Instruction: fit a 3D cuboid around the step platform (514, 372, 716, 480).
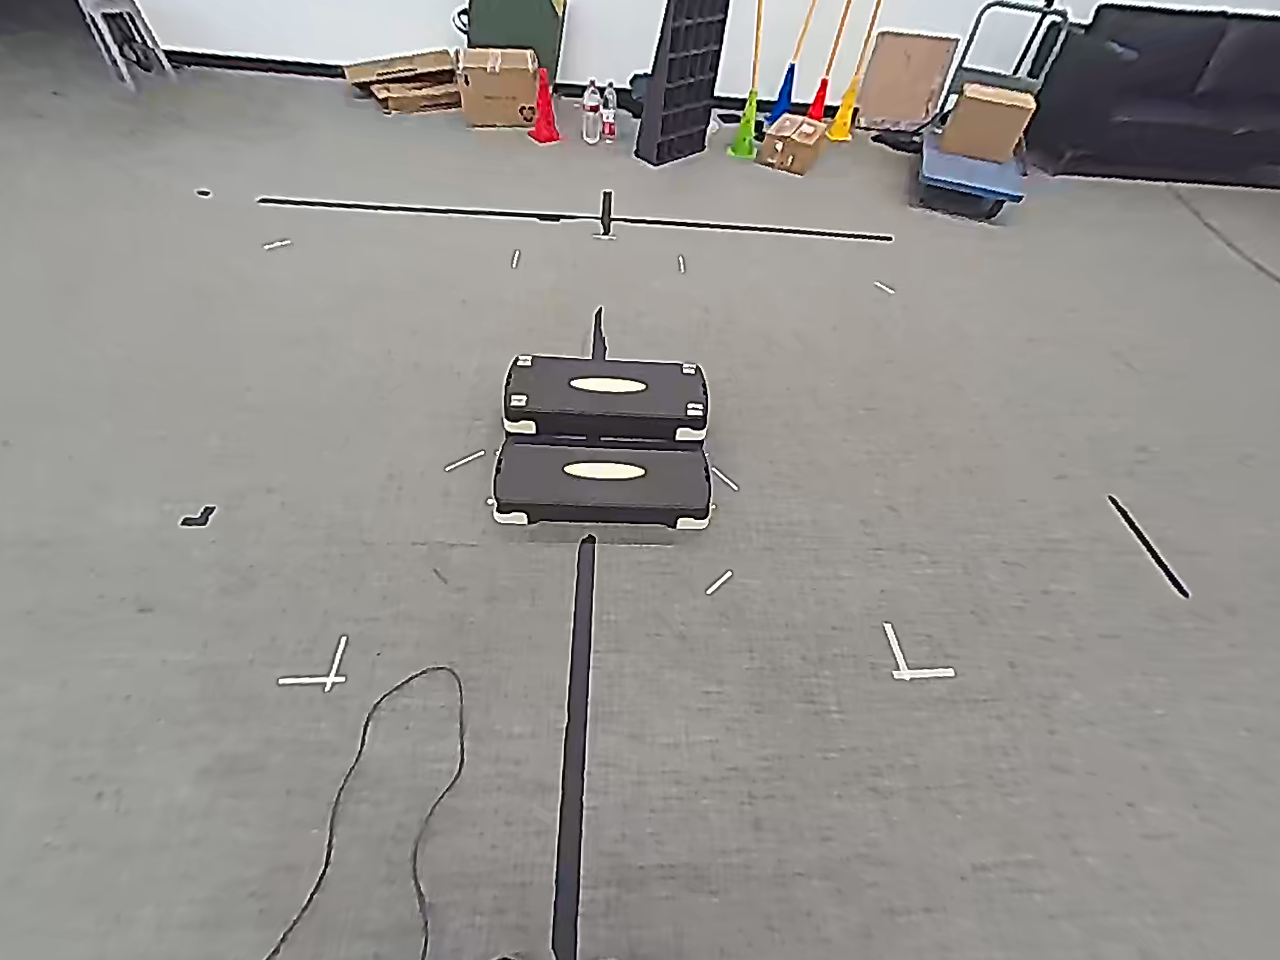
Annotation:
[{"bbox_3d":[-0.081,-0.192,1.867,0.684,0.204,0.286,6,49,-2],"label":"step platform"}]
